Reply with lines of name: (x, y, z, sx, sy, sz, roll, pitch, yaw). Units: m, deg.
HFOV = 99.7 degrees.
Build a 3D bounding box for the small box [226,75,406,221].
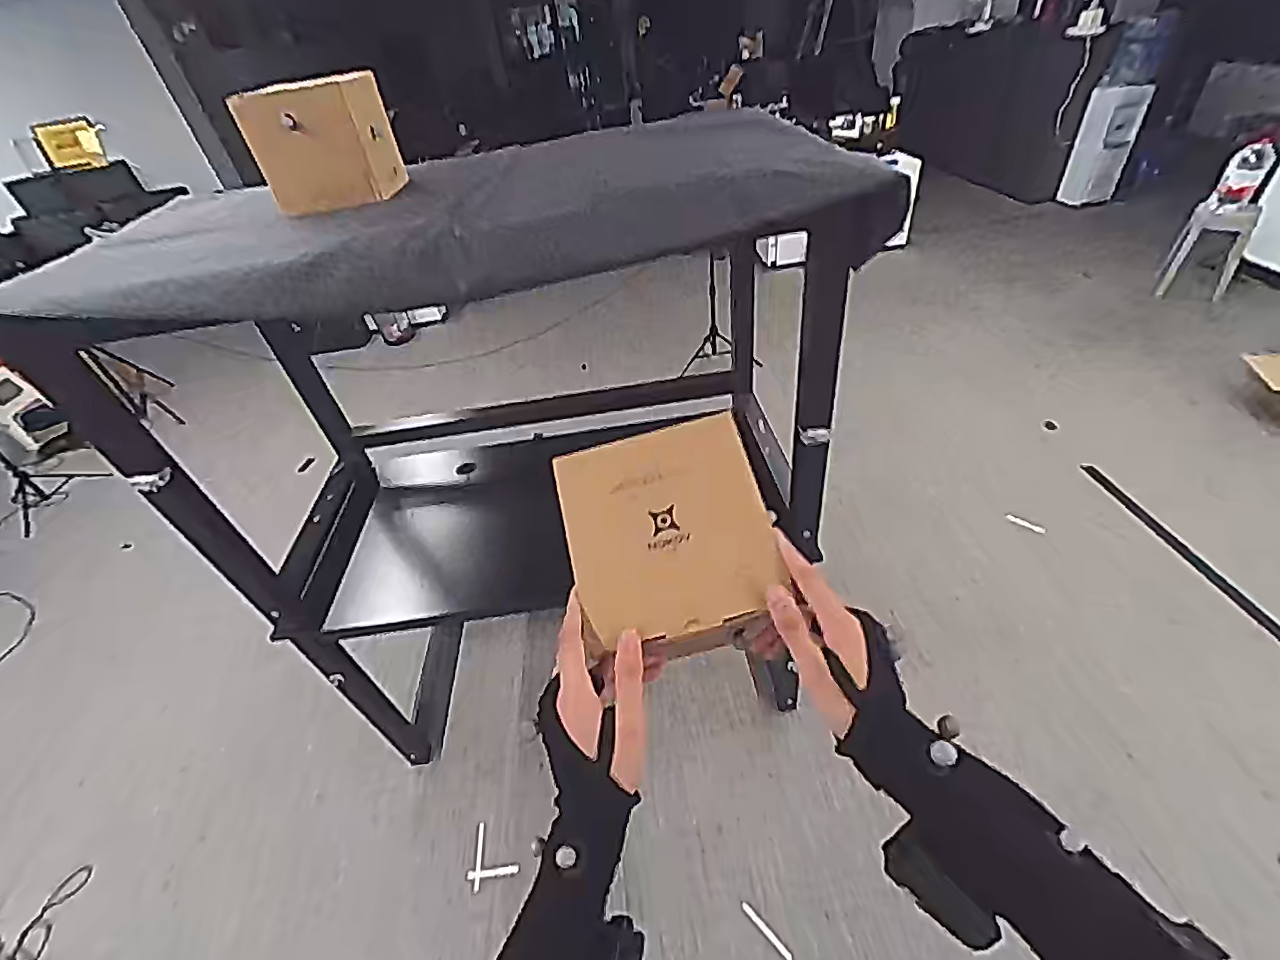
small box: (-0.521, -0.554, 0.905, 0.179, 0.176, 0.168, -9, 41, 2)
